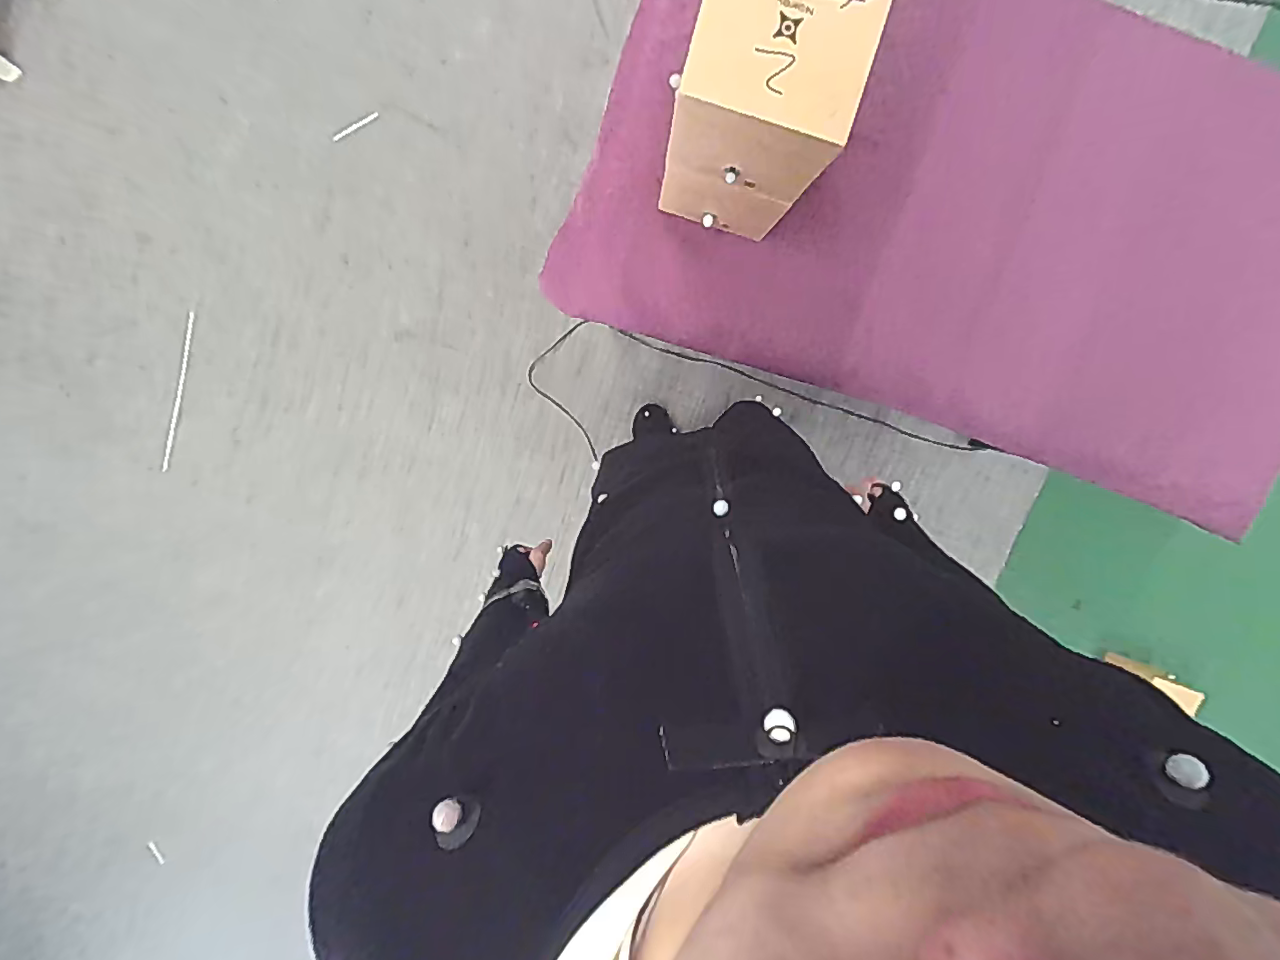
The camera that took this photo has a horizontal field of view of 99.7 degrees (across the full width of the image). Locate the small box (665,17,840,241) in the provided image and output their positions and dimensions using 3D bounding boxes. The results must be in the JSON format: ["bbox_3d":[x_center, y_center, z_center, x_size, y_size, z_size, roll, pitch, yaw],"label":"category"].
[{"bbox_3d":[0.135,-0.450,0.726,0.168,0.176,0.179,16,99,-4],"label":"small box"}]

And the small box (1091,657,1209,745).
[{"bbox_3d":[1.565,0.674,1.672,0.179,0.176,0.168,19,98,-5],"label":"small box"}]

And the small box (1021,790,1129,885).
[{"bbox_3d":[1.388,1.140,1.738,0.179,0.176,0.168,20,98,-4],"label":"small box"}]
